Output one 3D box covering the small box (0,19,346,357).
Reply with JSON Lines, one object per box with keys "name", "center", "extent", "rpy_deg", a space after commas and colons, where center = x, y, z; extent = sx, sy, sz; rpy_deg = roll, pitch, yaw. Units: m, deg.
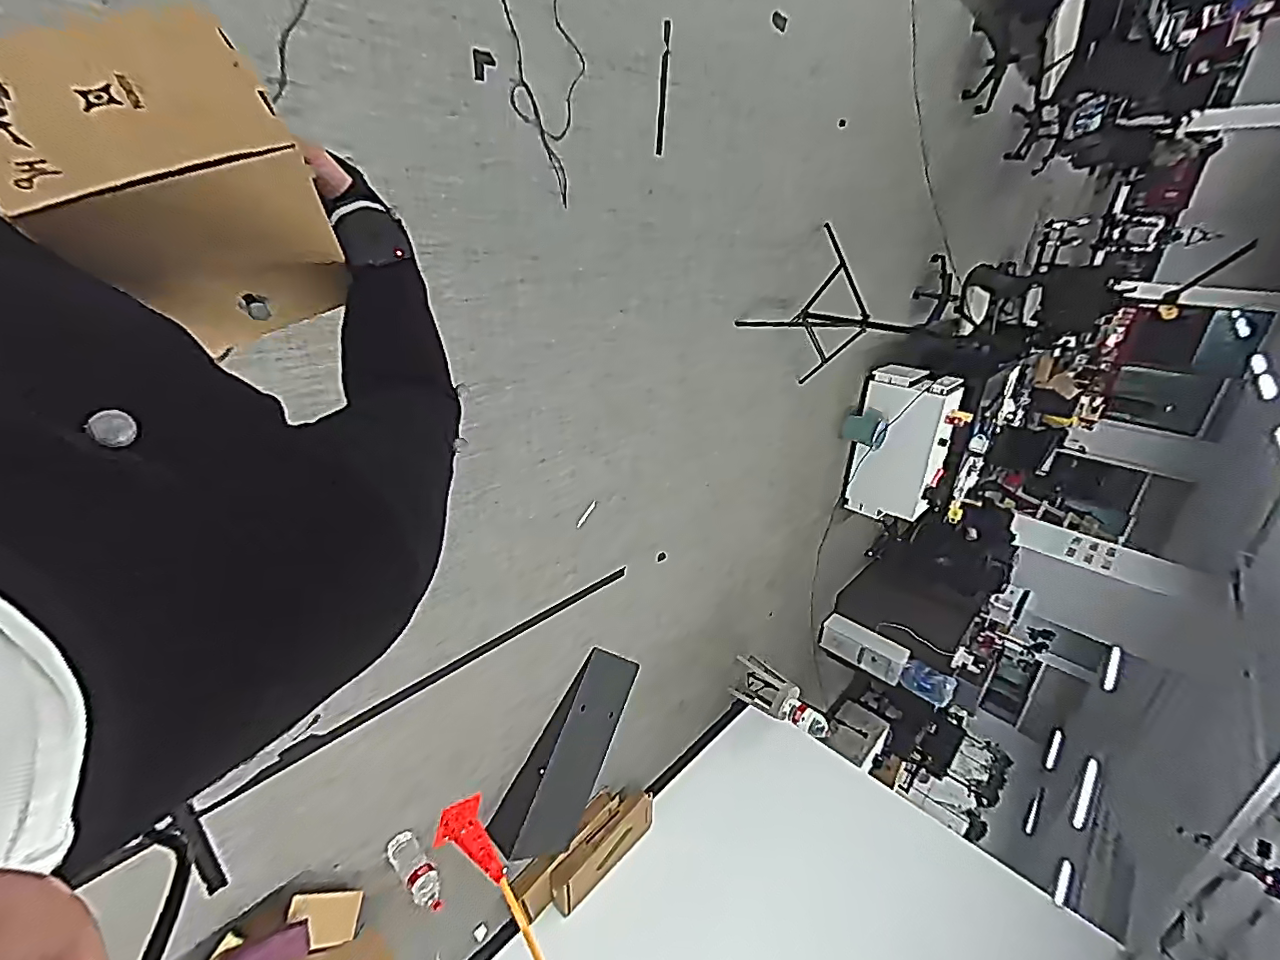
{"name": "small box", "center": [-0.384, -0.241, 0.467], "extent": [0.179, 0.168, 0.176], "rpy_deg": [-31, 167, -21]}
